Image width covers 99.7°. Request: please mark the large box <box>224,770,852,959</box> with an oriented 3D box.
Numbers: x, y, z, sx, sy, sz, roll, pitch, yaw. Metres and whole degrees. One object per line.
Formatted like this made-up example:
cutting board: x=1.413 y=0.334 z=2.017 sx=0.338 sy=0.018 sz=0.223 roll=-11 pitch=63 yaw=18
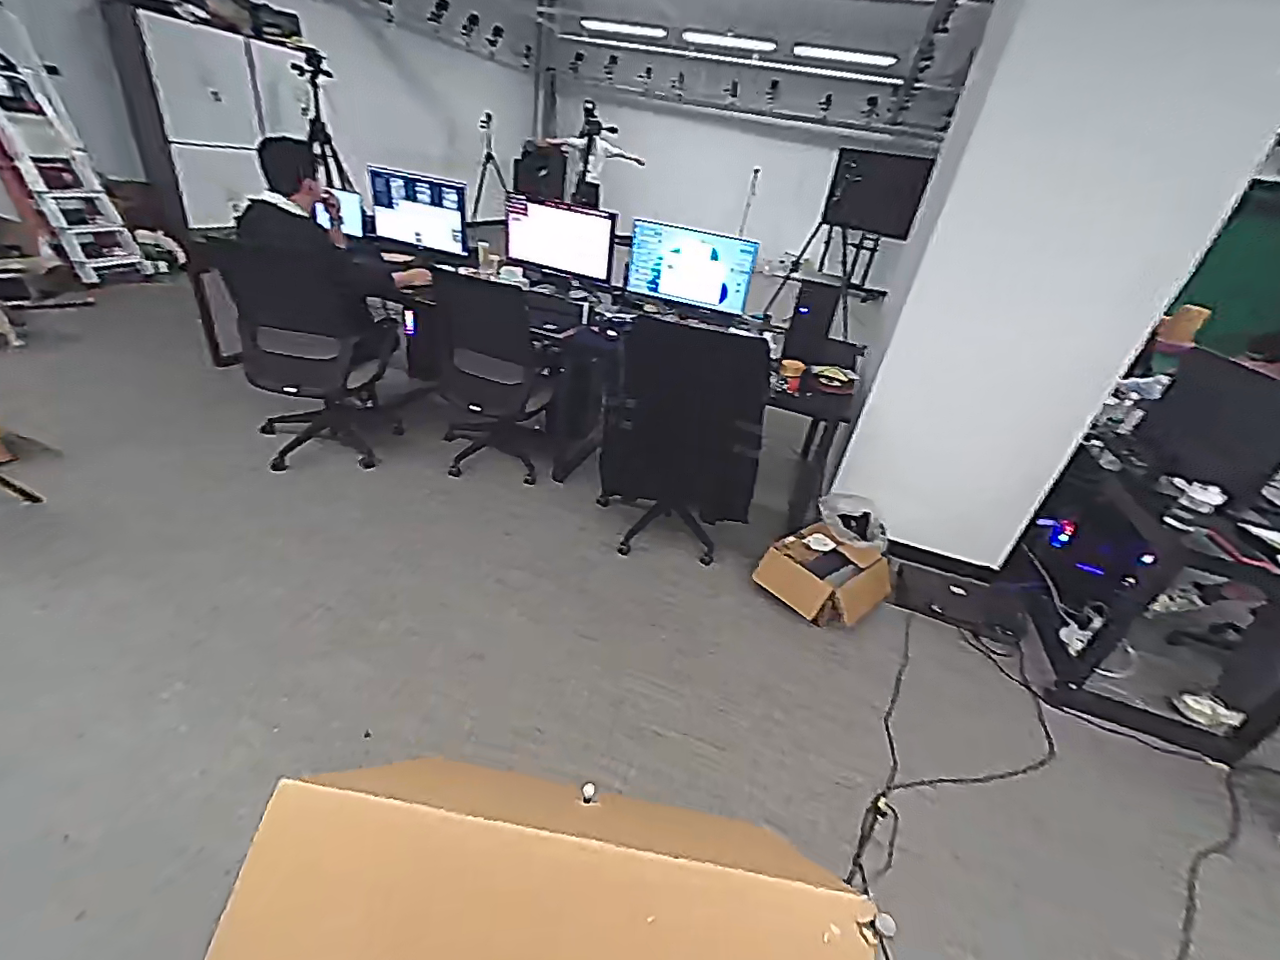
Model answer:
large box: x=-0.081 y=0.444 z=0.444 sx=0.408 sy=0.320 sz=0.320 roll=9 pitch=66 yaw=2
